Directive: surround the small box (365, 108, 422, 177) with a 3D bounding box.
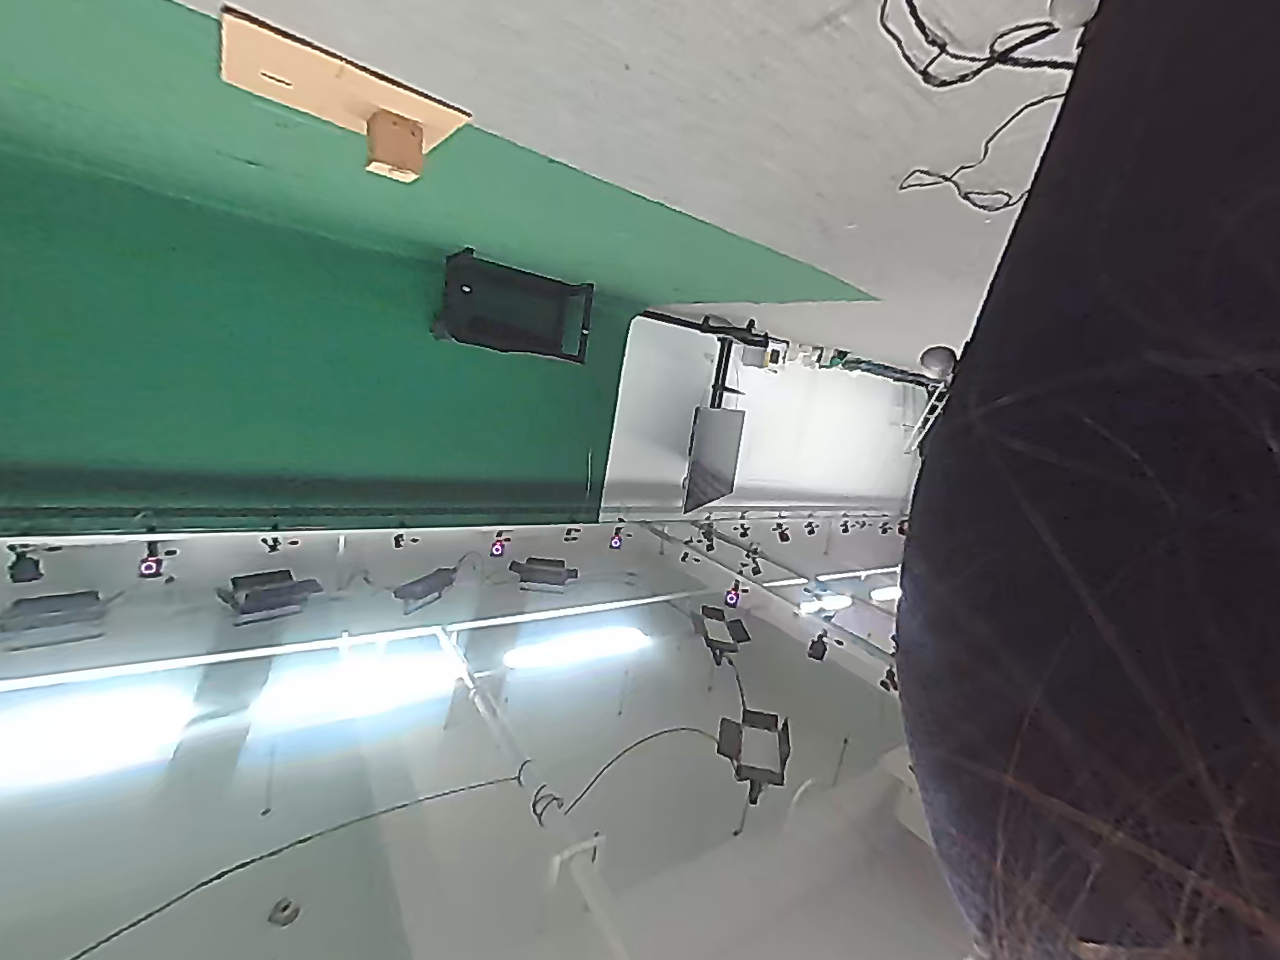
[{"bbox_3d":[-0.950,-1.296,2.080,0.168,0.176,0.179,0,-165,-39],"label":"small box"}]
